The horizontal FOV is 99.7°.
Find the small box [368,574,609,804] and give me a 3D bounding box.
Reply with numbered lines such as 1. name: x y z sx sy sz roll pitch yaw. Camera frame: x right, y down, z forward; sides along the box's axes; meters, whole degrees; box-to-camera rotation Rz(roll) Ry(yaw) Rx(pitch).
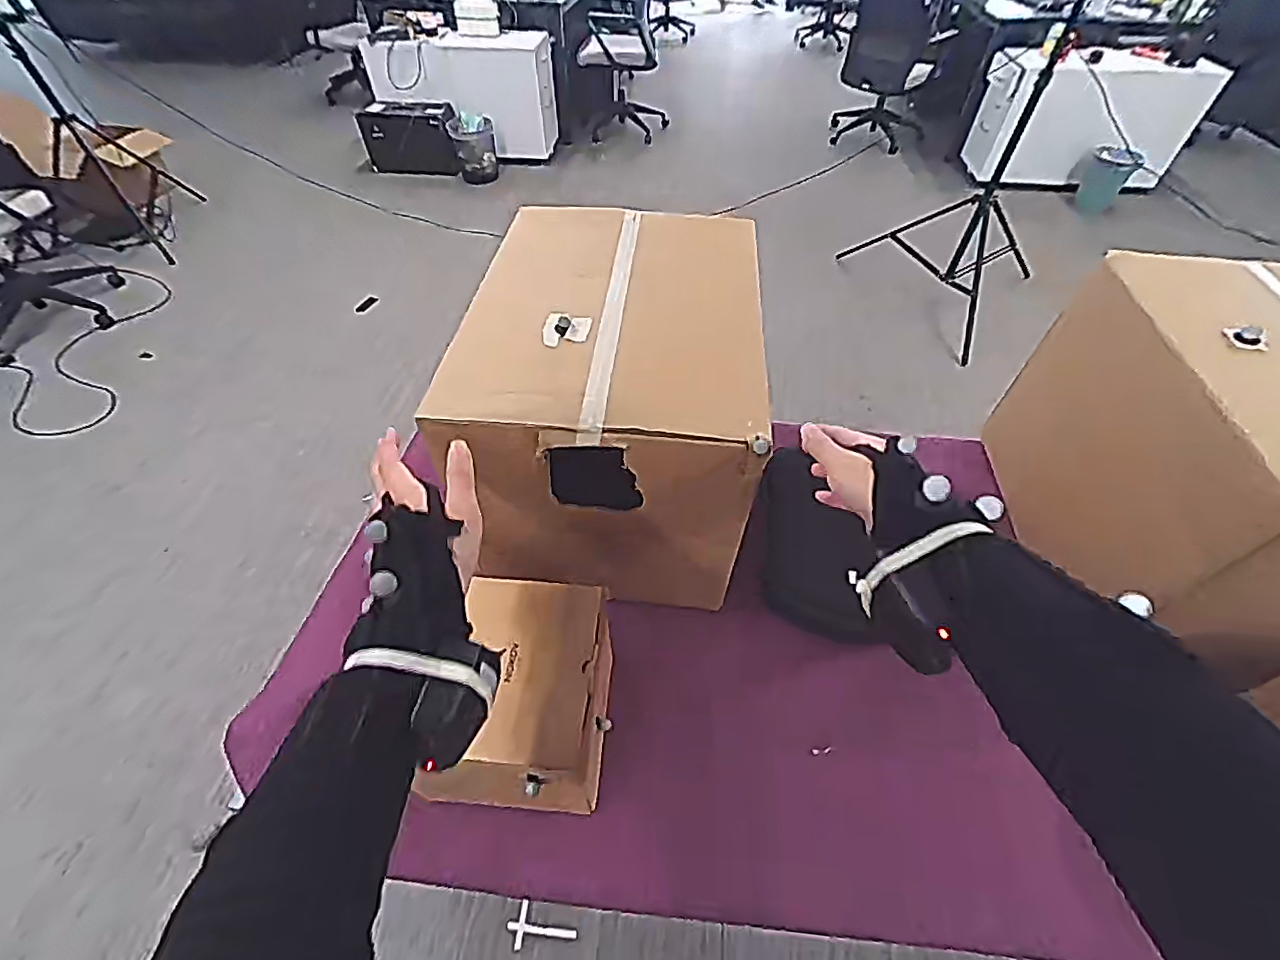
1. small box: -0.128 0.212 0.541 0.179 0.176 0.168 3 49 2

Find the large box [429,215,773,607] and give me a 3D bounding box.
1. large box: -0.026 -0.092 0.708 0.320 0.320 0.408 4 52 3
